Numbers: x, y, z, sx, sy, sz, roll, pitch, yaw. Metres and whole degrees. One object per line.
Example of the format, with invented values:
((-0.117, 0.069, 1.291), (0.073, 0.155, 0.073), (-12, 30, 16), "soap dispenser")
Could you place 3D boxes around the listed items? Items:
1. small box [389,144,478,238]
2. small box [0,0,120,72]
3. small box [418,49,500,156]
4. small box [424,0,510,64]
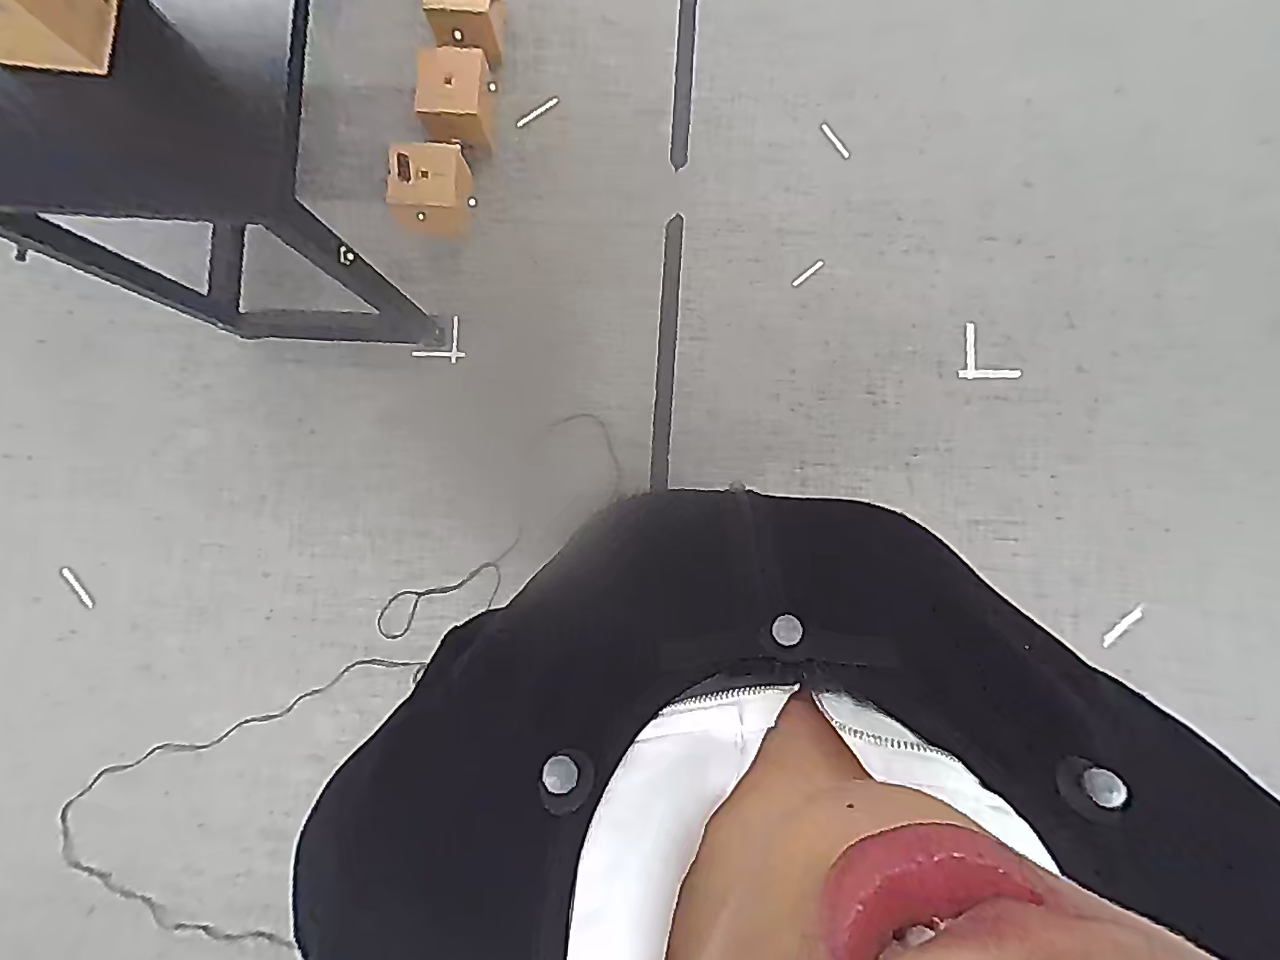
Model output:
((-0.555, -0.777, 1.467), (0.179, 0.176, 0.168), (2, 88, -1), "small box")
((-0.872, -0.701, 0.737), (0.179, 0.176, 0.168), (6, 87, 1), "small box")
((-0.489, -1.026, 1.479), (0.168, 0.176, 0.179), (2, 88, 1), "small box")
((-0.471, -1.289, 1.487), (0.179, 0.176, 0.168), (2, 88, 1), "small box")
